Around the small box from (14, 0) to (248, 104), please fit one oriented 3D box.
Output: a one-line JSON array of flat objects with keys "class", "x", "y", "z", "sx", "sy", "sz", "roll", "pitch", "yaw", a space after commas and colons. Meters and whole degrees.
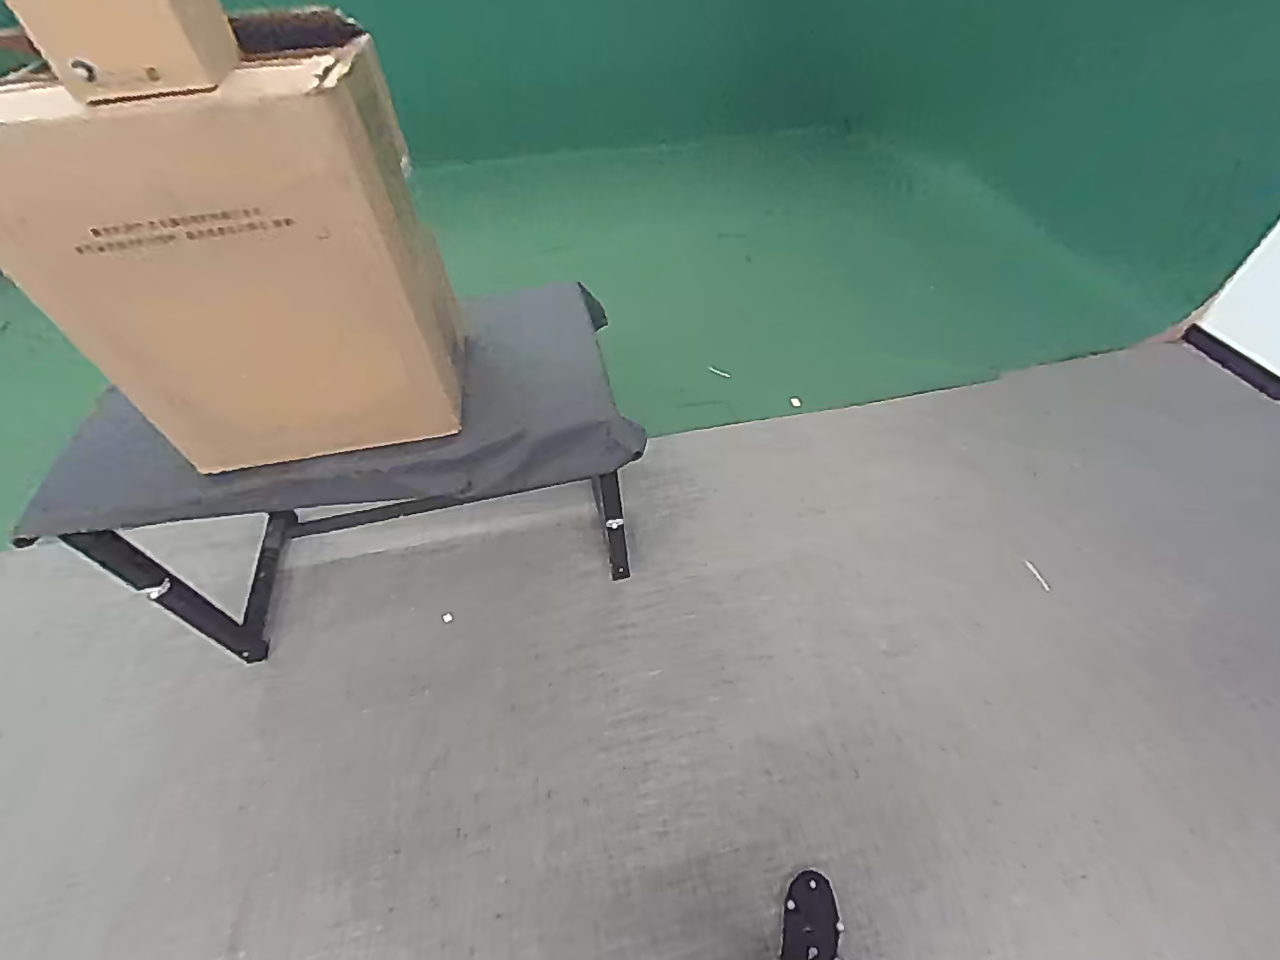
[{"class": "small box", "x": -0.647, "y": -0.602, "z": 0.691, "sx": 0.168, "sy": 0.176, "sz": 0.179, "roll": -12, "pitch": 49, "yaw": -7}]
